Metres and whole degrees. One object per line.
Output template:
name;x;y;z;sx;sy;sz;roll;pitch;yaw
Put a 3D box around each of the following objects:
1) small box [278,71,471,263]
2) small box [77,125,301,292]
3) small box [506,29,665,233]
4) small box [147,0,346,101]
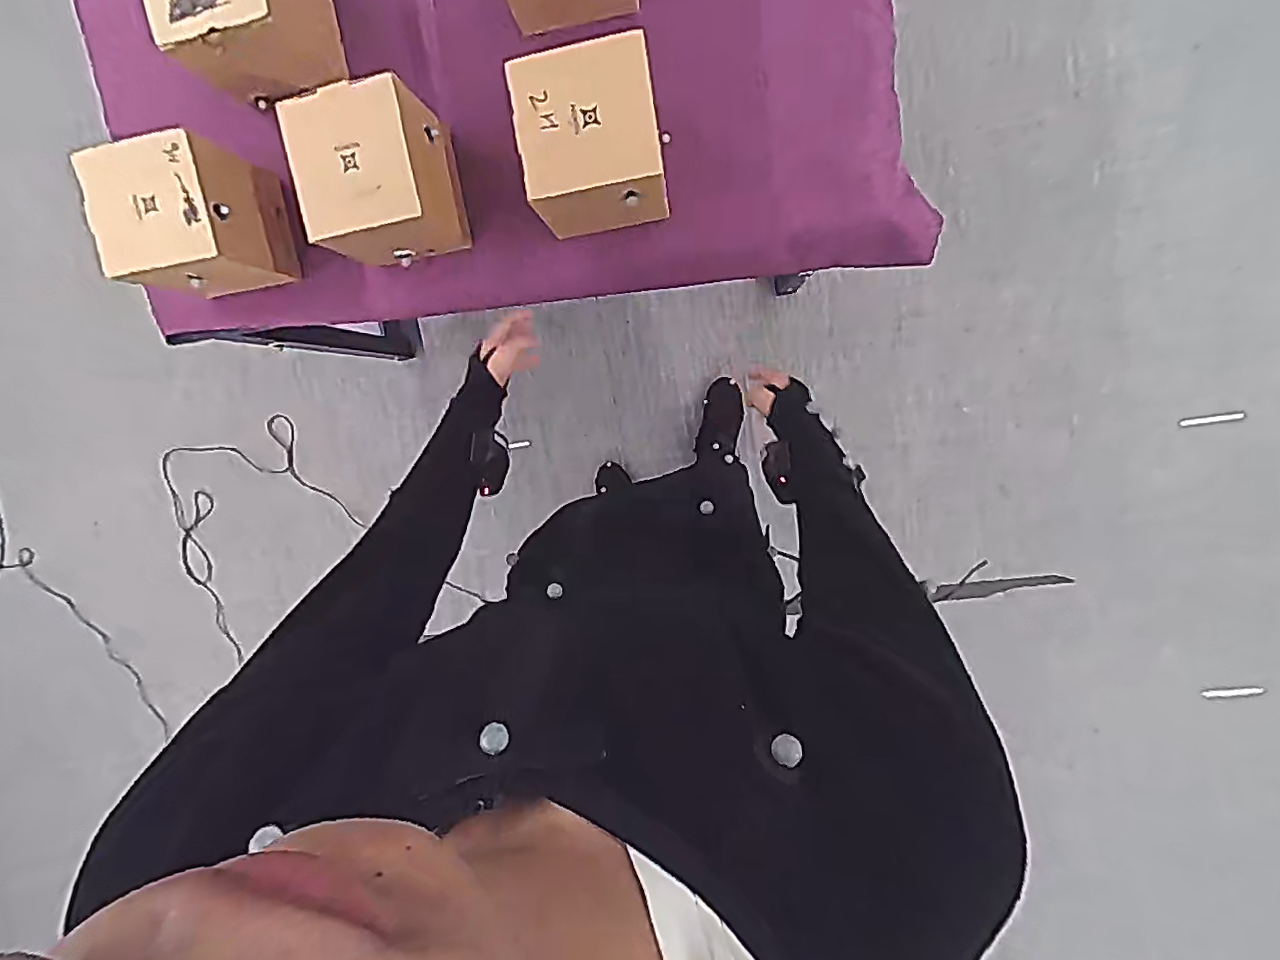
small box;-0.366;-0.432;0.777;0.168;0.176;0.179;-8;100;8
small box;-0.657;-0.389;0.809;0.179;0.176;0.168;-7;99;7
small box;-0.061;-0.458;0.740;0.179;0.176;0.168;-8;98;7
small box;-0.547;-0.669;0.756;0.168;0.176;0.179;-8;98;6
